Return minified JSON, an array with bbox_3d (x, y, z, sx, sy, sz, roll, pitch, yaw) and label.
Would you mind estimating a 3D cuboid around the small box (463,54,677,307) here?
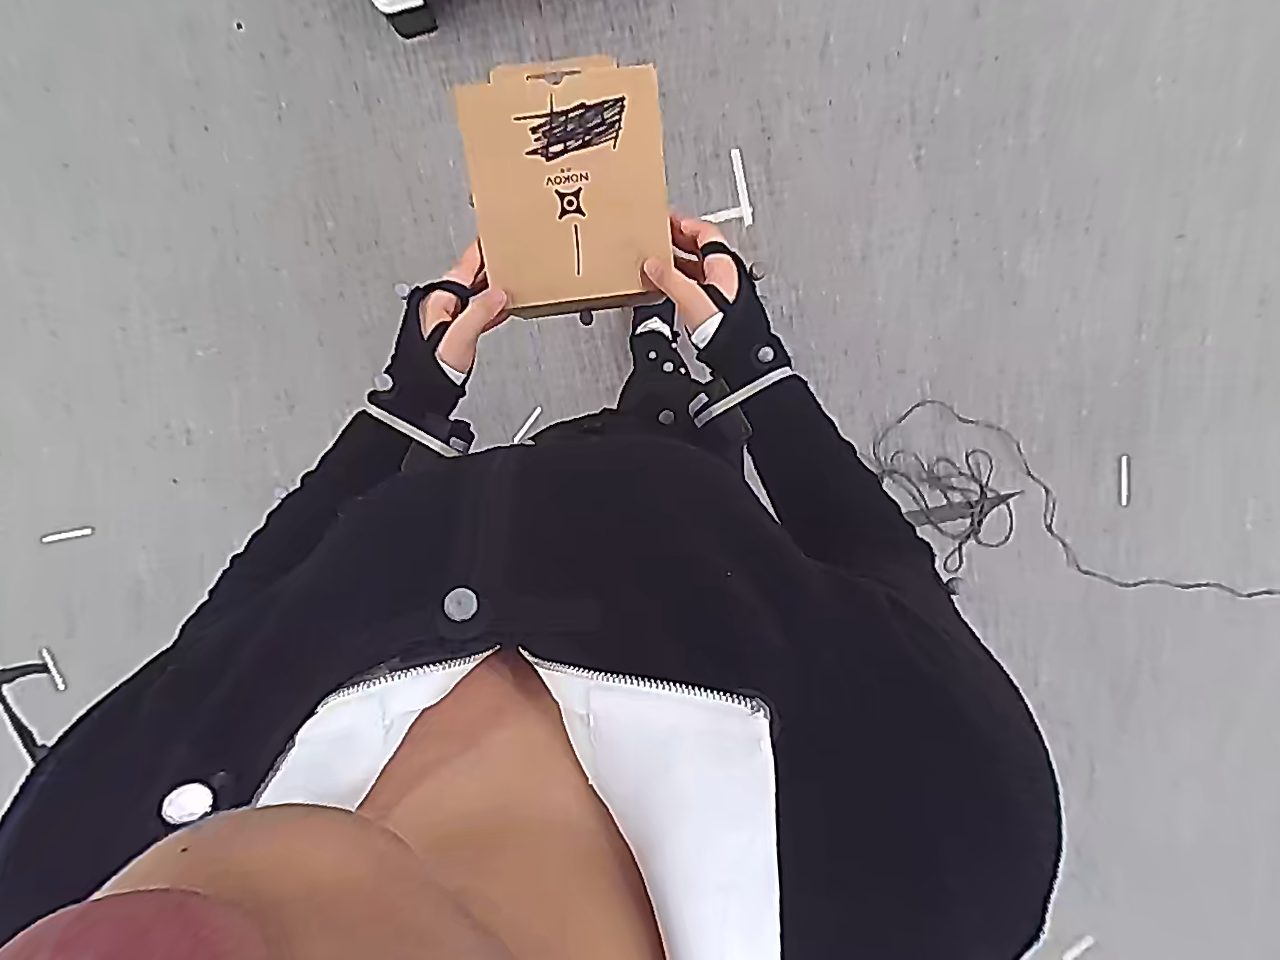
[{"bbox_3d":[-0.061,-0.276,0.538,0.168,0.176,0.179,-7,105,-1],"label":"small box"}]
